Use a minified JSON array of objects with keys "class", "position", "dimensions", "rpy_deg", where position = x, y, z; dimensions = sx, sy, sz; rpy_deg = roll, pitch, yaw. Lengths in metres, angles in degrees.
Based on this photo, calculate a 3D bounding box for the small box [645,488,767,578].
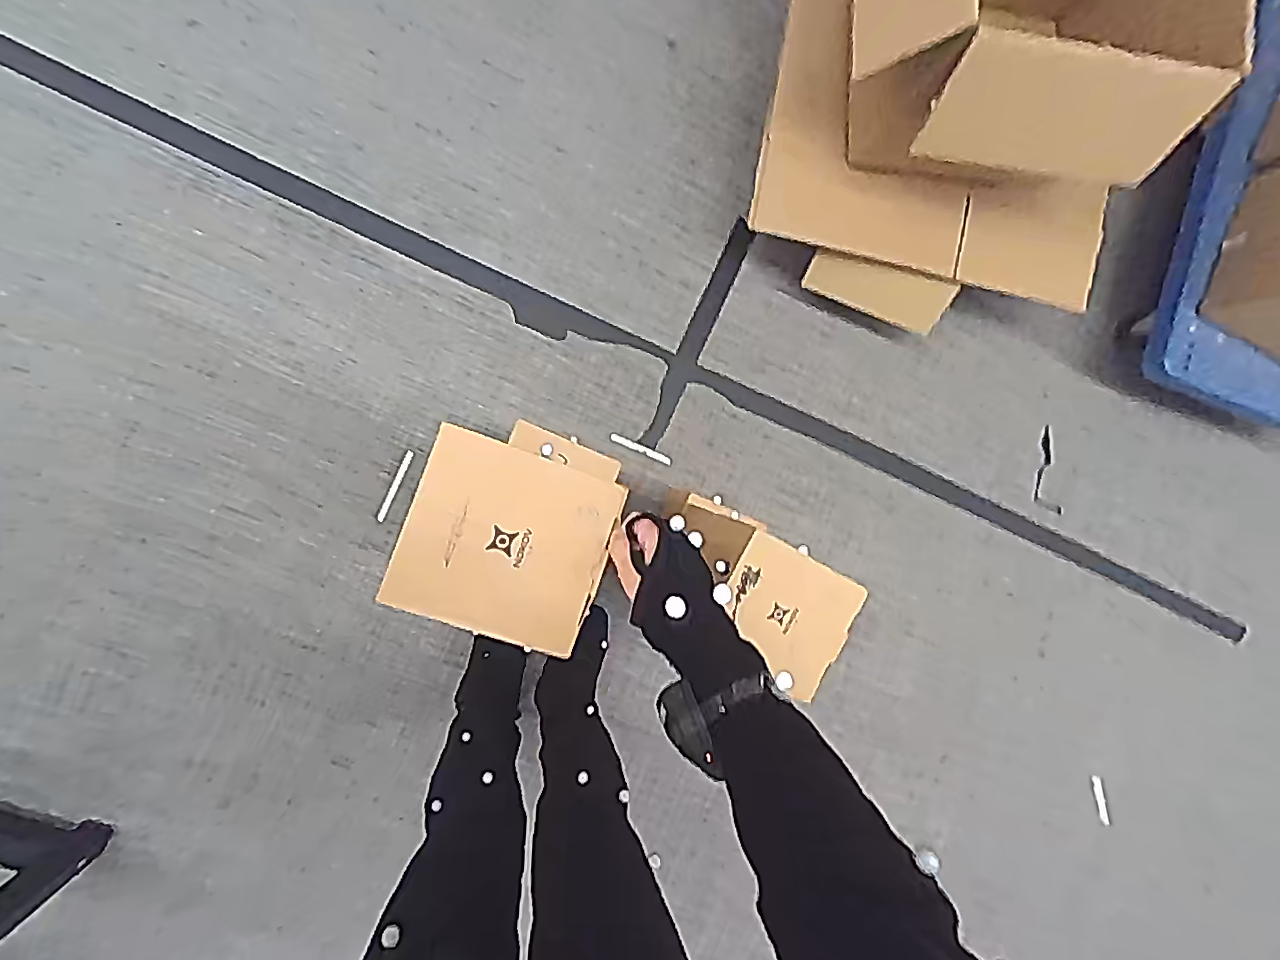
[{"class":"small box","position":[0.120,0.128,1.070],"dimensions":[0.168,0.176,0.179],"rpy_deg":[24,88,-10]}]

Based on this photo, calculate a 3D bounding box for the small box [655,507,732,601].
[{"class":"small box","position":[0.142,0.154,0.908],"dimensions":[0.179,0.176,0.168],"rpy_deg":[26,89,-10]}]

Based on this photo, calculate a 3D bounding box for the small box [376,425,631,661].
[{"class":"small box","position":[-0.127,0.056,0.544],"dimensions":[0.179,0.176,0.168],"rpy_deg":[20,86,-9]}]

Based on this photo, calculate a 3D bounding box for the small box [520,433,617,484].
[{"class":"small box","position":[-0.163,0.025,1.023],"dimensions":[0.179,0.176,0.168],"rpy_deg":[25,88,-9]}]

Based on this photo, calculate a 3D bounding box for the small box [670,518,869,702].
[{"class":"small box","position":[0.166,0.165,0.746],"dimensions":[0.179,0.176,0.168],"rpy_deg":[29,88,-10]}]
